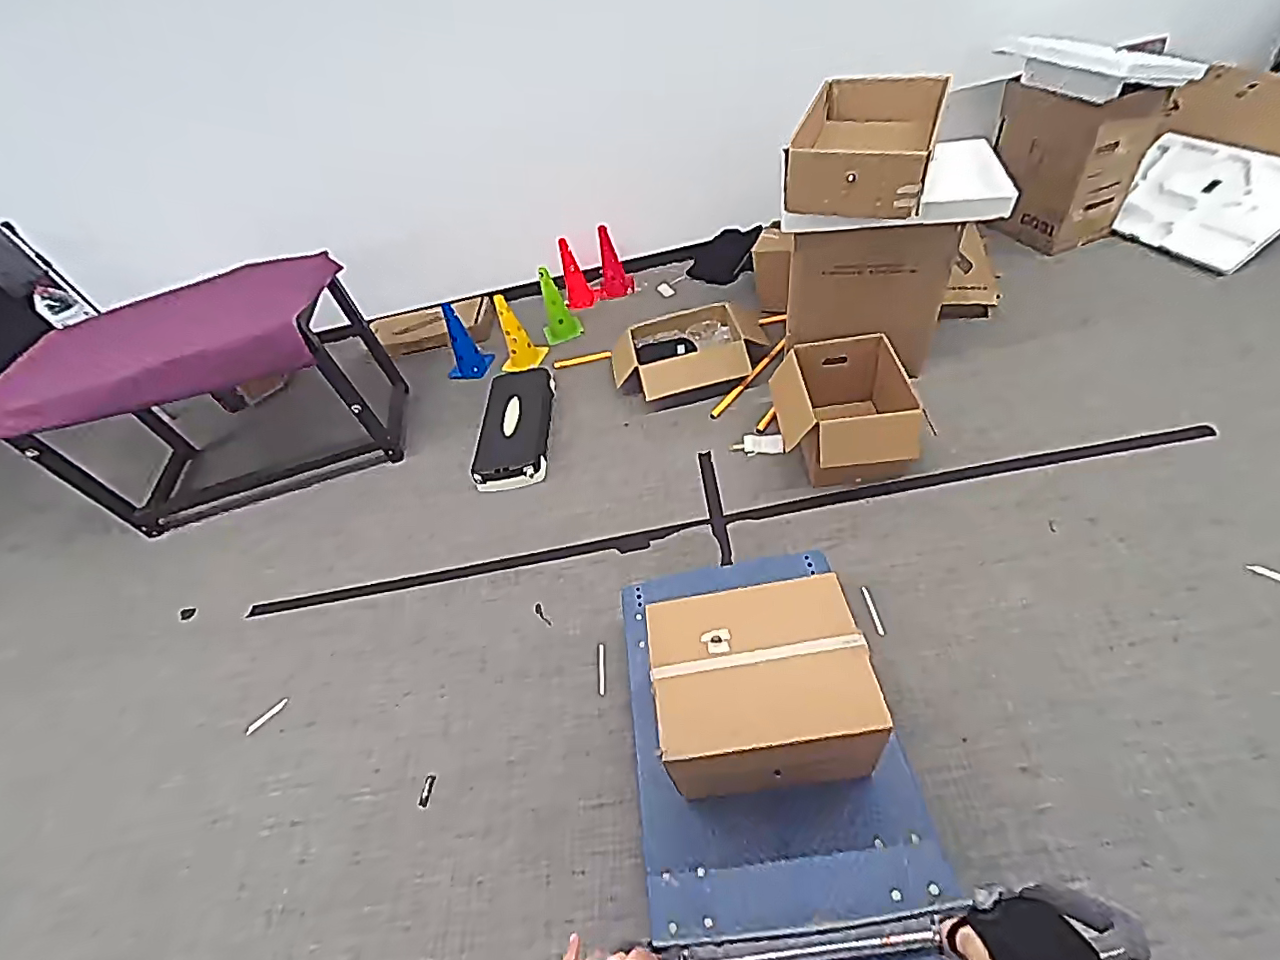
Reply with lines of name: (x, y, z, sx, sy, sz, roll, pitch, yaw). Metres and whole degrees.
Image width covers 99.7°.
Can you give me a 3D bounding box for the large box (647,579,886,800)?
large box: (0.252, 0.457, 1.162, 0.408, 0.320, 0.320, -12, 46, 5)
